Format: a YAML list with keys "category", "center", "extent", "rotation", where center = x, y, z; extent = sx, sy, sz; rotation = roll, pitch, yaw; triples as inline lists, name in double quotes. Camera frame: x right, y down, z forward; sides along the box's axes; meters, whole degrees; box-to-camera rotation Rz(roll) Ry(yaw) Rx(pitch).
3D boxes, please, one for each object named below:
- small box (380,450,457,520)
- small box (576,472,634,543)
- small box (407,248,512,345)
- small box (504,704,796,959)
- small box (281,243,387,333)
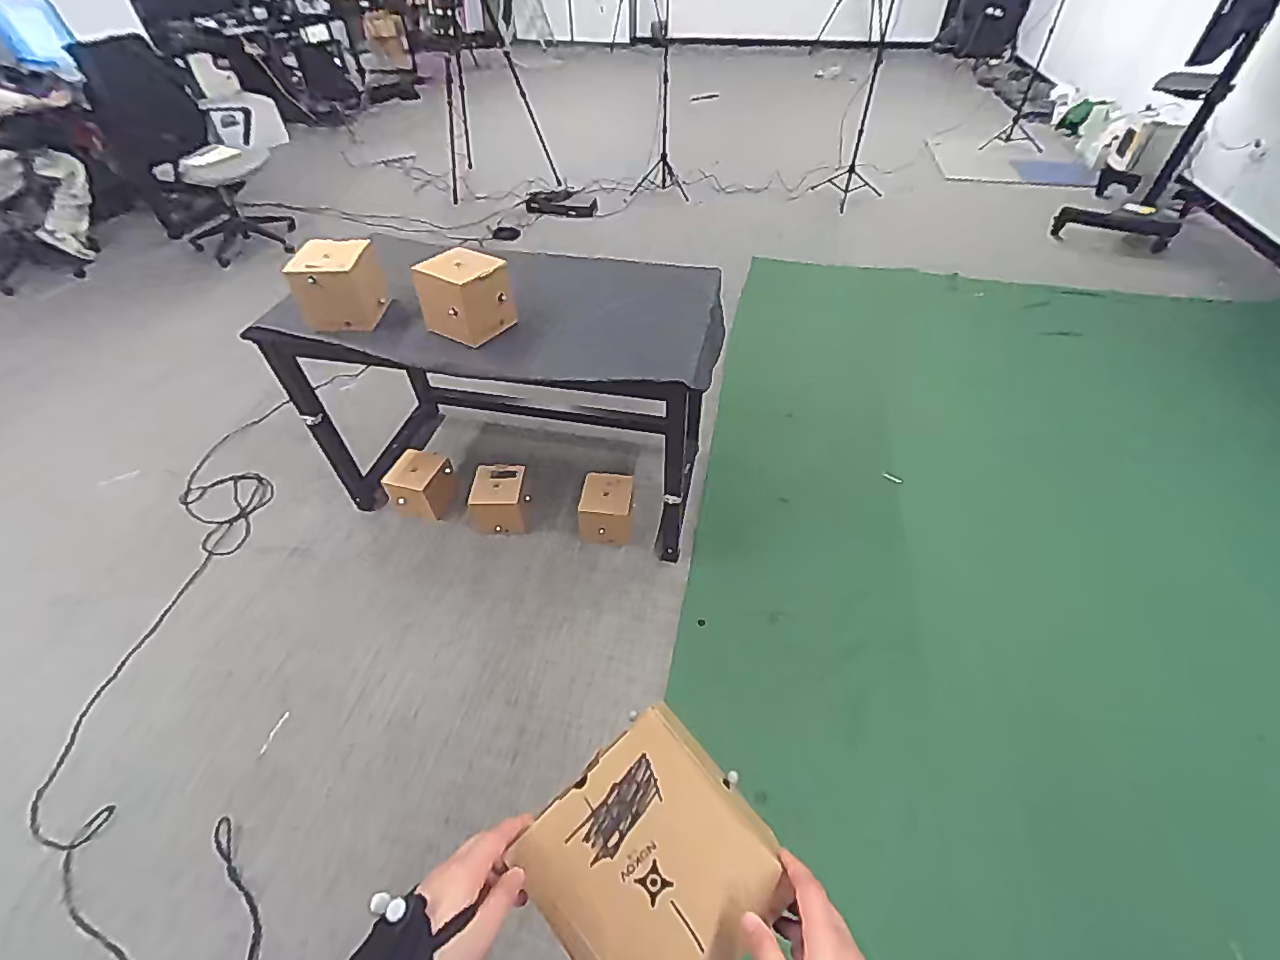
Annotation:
- category: "small box"
  center: [-0.781, 0.020, 1.933]
  extent: [0.168, 0.176, 0.179]
  rotation: [11, 48, 12]
- category: "small box"
  center: [-0.112, 0.096, 1.840]
  extent: [0.168, 0.176, 0.179]
  rotation: [5, 47, 5]
- category: "small box"
  center: [-0.450, -0.465, 1.379]
  extent: [0.179, 0.176, 0.168]
  rotation: [23, 48, 23]
- category: "small box"
  center: [0.010, 0.332, 0.499]
  extent: [0.168, 0.176, 0.179]
  rotation: [-41, 72, -9]
- category: "small box"
  center: [-0.792, -0.508, 1.426]
  extent: [0.168, 0.176, 0.179]
  rotation: [-1, 47, 0]
